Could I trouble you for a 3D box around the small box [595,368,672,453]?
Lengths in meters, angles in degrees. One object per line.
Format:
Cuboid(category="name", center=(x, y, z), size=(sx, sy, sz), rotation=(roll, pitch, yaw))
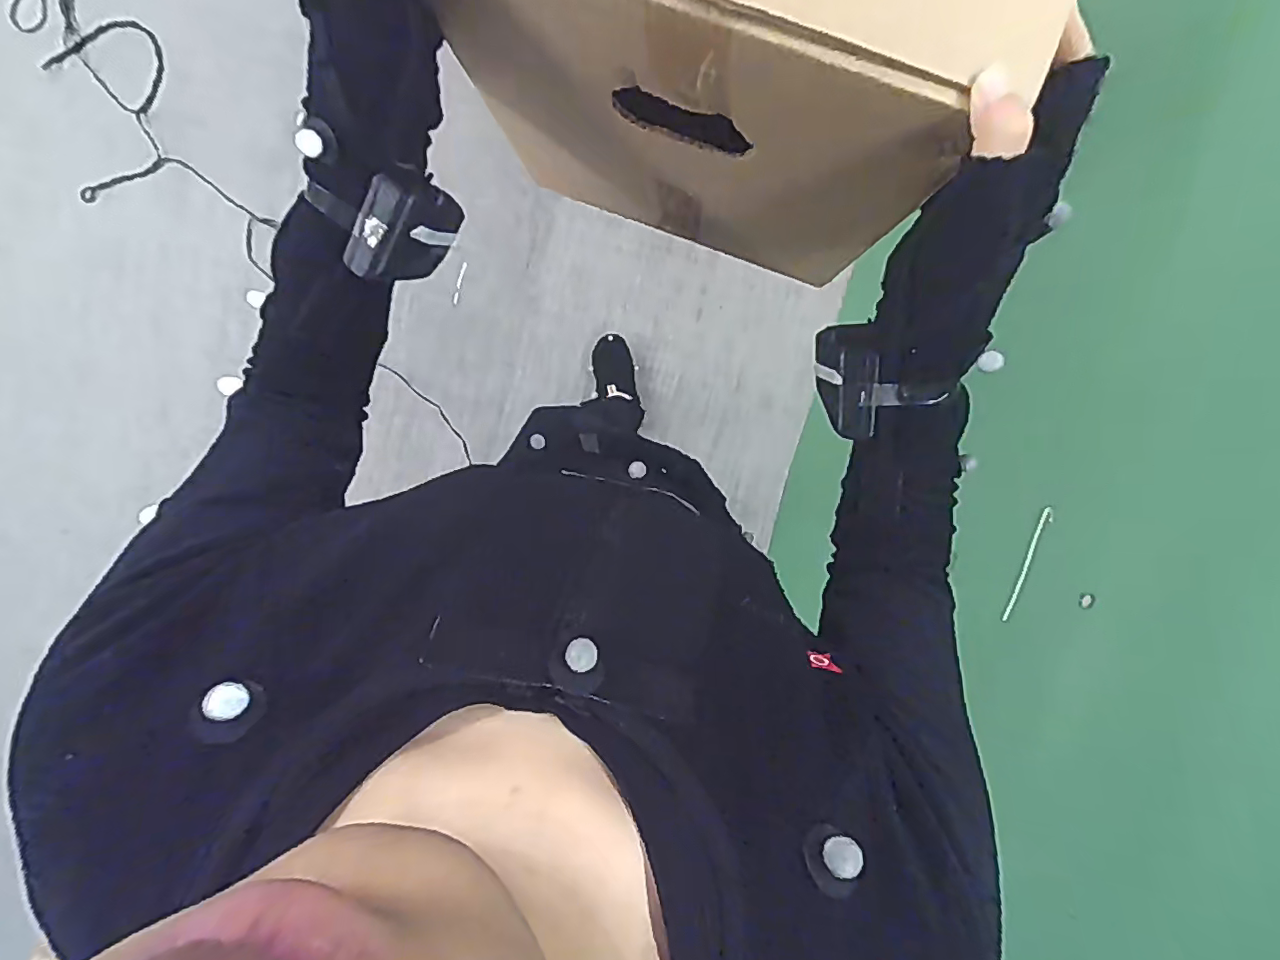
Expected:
Cuboid(category="small box", center=(-0.024, -0.183, 1.395), size=(0.168, 0.176, 0.179), rotation=(7, 107, -10))
